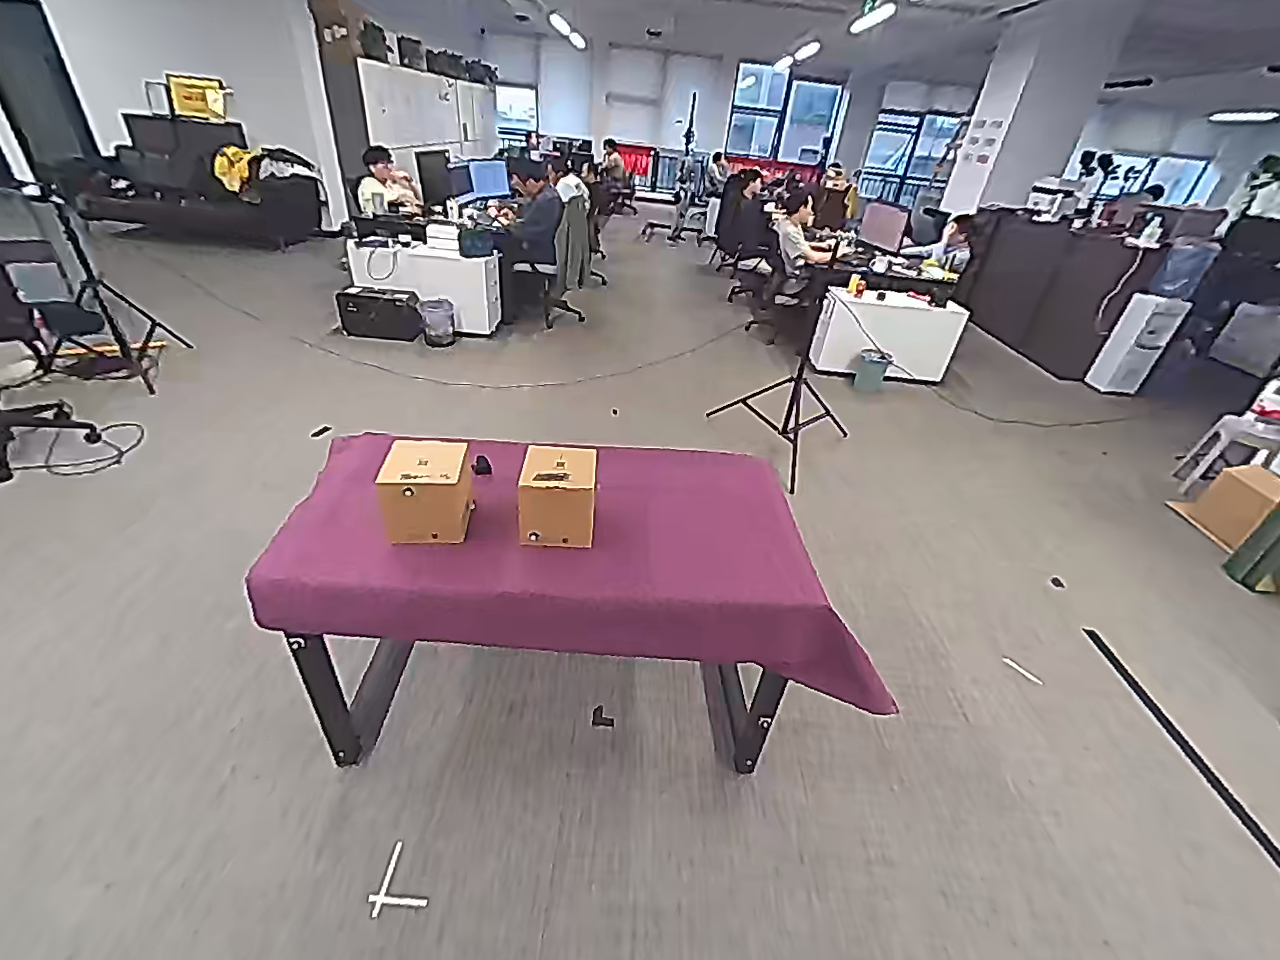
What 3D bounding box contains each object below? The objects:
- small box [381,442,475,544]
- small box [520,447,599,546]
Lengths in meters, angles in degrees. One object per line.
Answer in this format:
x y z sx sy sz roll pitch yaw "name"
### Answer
-0.479 0.028 1.246 0.168 0.176 0.179 0 33 -9 "small box"
-0.185 0.040 1.280 0.168 0.176 0.179 4 32 -4 "small box"
